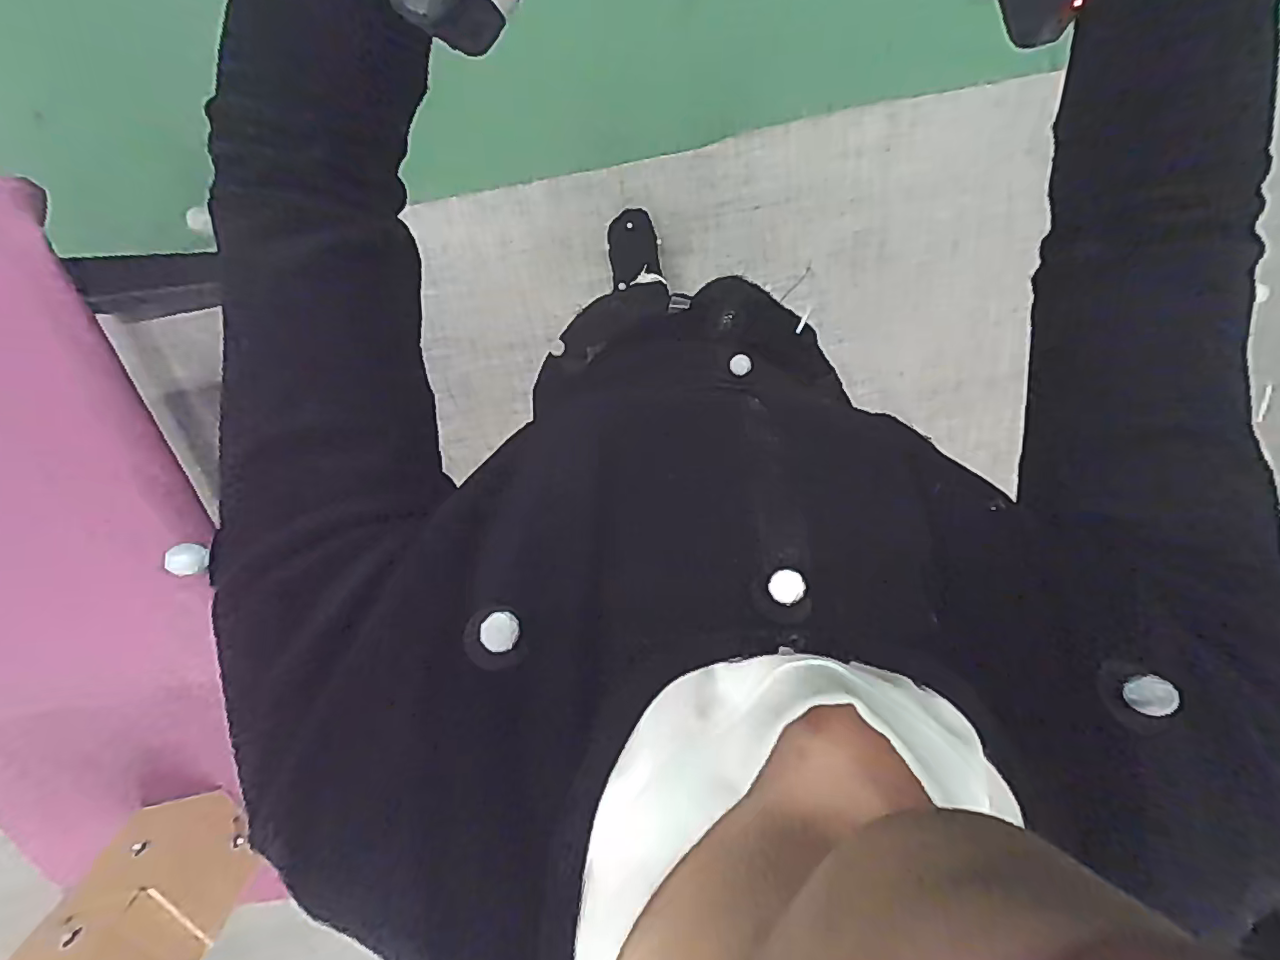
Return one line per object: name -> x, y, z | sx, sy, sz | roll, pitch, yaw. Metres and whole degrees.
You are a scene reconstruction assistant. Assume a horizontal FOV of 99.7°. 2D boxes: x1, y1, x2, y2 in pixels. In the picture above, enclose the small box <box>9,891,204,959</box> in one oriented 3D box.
small box -> -0.794, 0.739, 0.777 | 0.168, 0.176, 0.179 | -17, 112, 6
